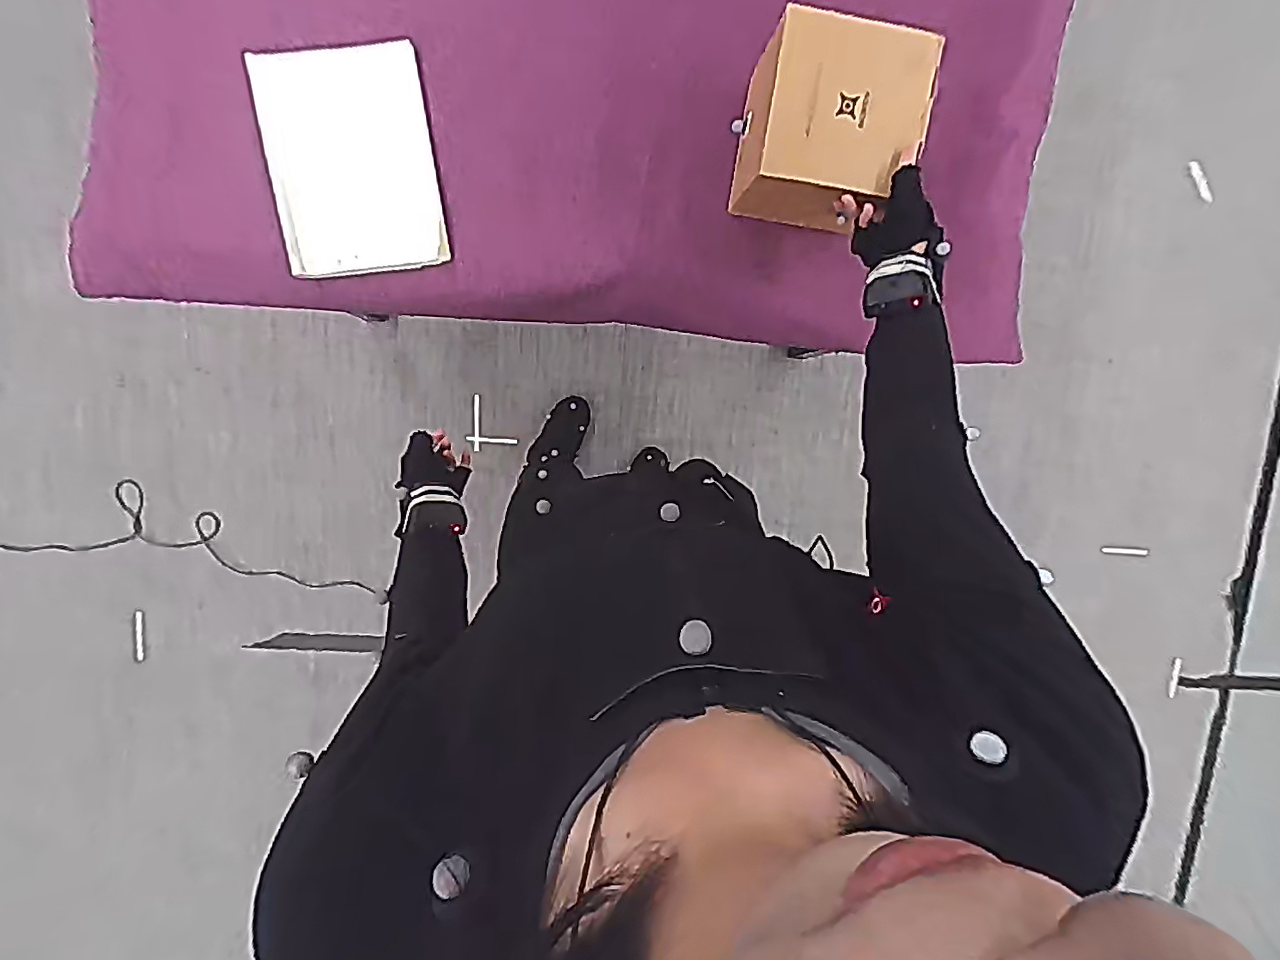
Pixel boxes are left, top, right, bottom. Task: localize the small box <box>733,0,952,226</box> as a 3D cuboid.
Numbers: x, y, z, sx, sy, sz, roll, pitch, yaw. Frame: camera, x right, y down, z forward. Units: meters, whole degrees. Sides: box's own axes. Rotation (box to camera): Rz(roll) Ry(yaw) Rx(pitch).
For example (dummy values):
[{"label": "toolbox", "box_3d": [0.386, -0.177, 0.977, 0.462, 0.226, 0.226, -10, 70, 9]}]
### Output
[{"label": "small box", "box_3d": [0.224, -0.418, 0.648, 0.179, 0.176, 0.168, 7, 102, -4]}]
